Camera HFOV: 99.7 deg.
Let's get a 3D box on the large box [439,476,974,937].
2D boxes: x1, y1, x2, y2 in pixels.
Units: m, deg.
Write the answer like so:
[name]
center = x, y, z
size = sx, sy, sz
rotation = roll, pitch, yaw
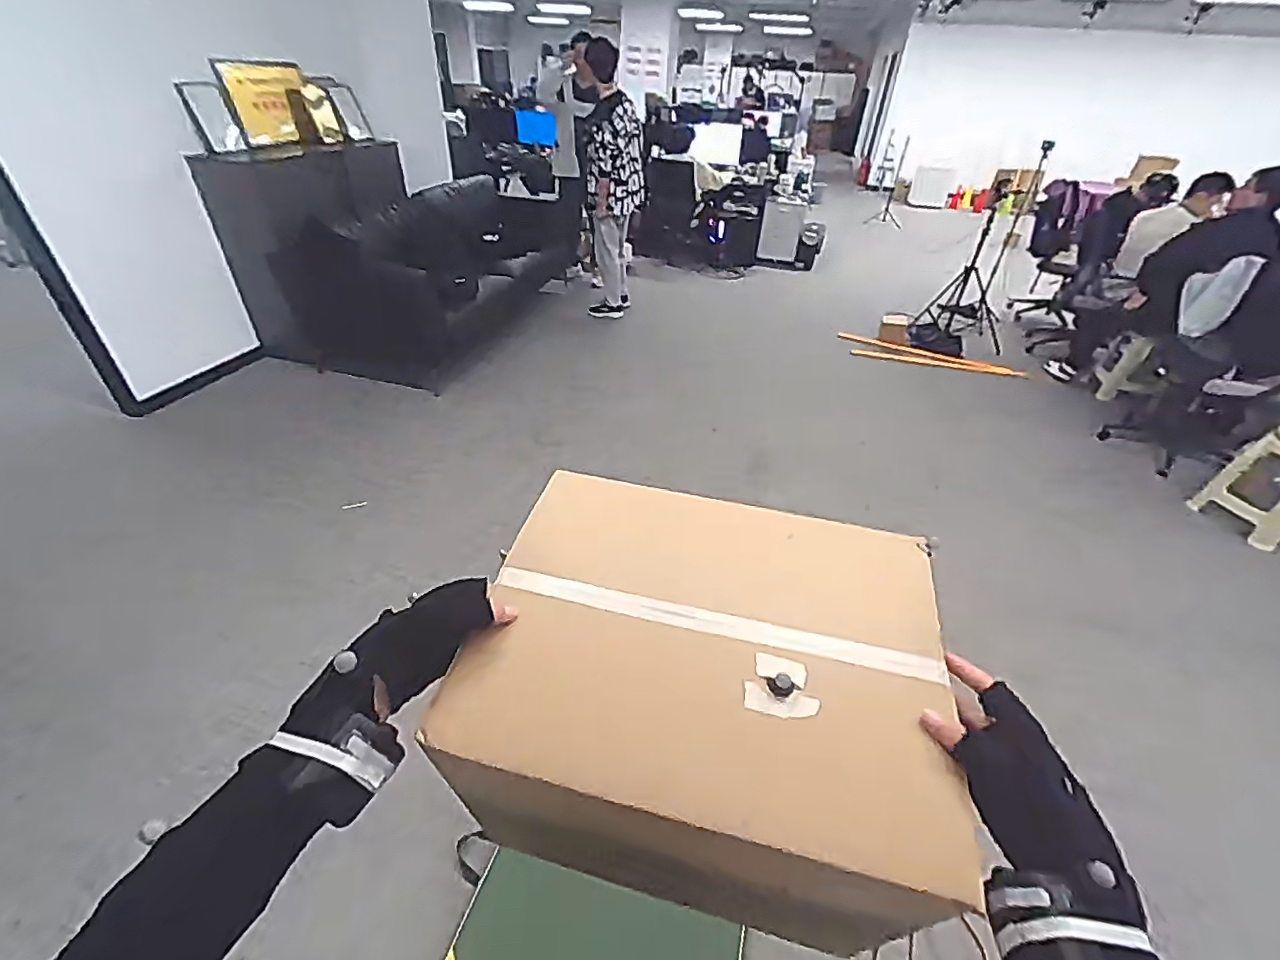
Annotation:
[large box]
center = 0.061, 0.237, 0.598
size = 0.408, 0.320, 0.320
rotation = 11, 45, 9
